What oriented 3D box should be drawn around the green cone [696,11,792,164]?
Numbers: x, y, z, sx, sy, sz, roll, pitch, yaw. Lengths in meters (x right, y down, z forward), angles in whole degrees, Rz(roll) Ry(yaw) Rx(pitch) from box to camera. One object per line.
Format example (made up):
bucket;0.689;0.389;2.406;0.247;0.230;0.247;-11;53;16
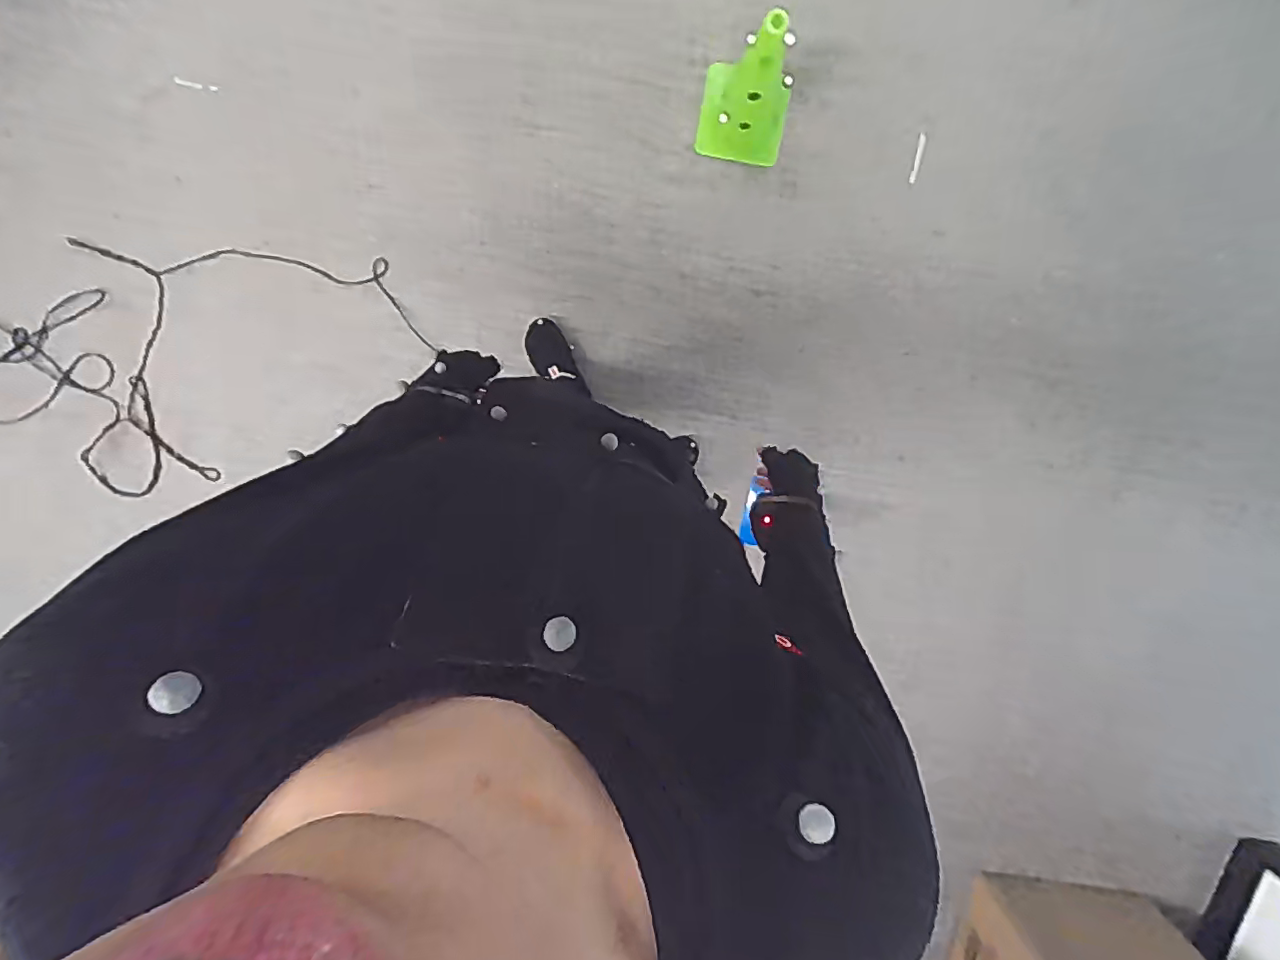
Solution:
green cone;0.238;-0.829;1.104;0.200;0.368;0.202;9;102;0
